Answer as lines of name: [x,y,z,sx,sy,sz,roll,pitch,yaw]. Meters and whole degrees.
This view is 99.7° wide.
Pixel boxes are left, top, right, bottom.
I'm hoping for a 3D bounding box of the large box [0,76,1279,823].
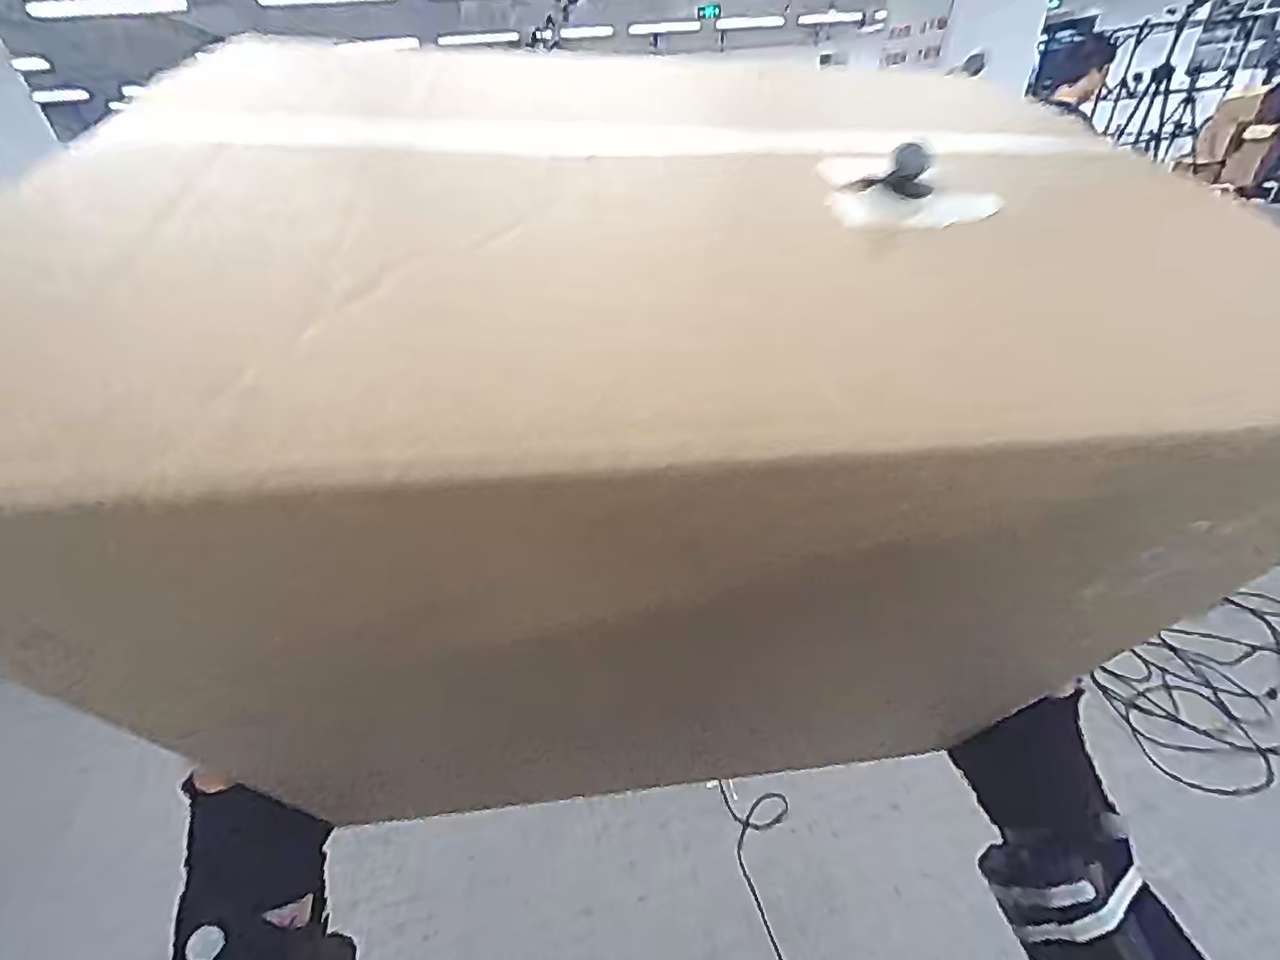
large box: [0.011,-0.020,0.337,0.408,0.320,0.320,-3,50,-9]
